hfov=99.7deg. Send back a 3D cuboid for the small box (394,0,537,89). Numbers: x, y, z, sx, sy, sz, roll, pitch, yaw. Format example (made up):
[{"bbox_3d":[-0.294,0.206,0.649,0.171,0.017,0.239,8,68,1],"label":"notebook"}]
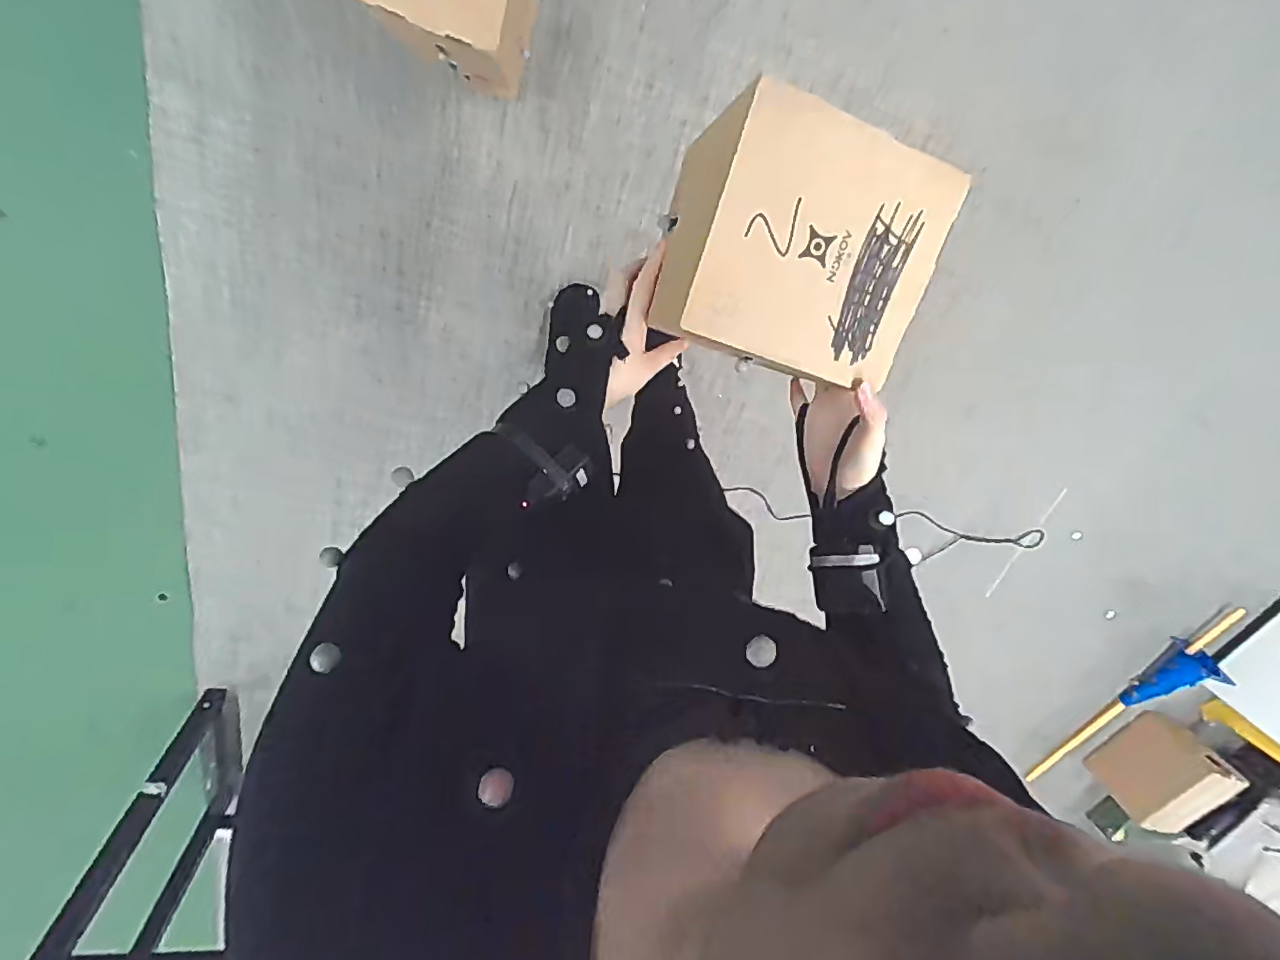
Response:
[{"bbox_3d":[-0.245,-0.708,0.788,0.168,0.176,0.179,14,117,-14],"label":"small box"}]

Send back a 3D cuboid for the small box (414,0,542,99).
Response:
[{"bbox_3d":[-0.268,-0.789,0.927,0.168,0.176,0.179,16,116,-17],"label":"small box"}]

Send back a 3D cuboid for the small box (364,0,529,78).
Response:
[{"bbox_3d":[-0.222,-0.624,0.647,0.168,0.176,0.179,14,116,-14],"label":"small box"}]
